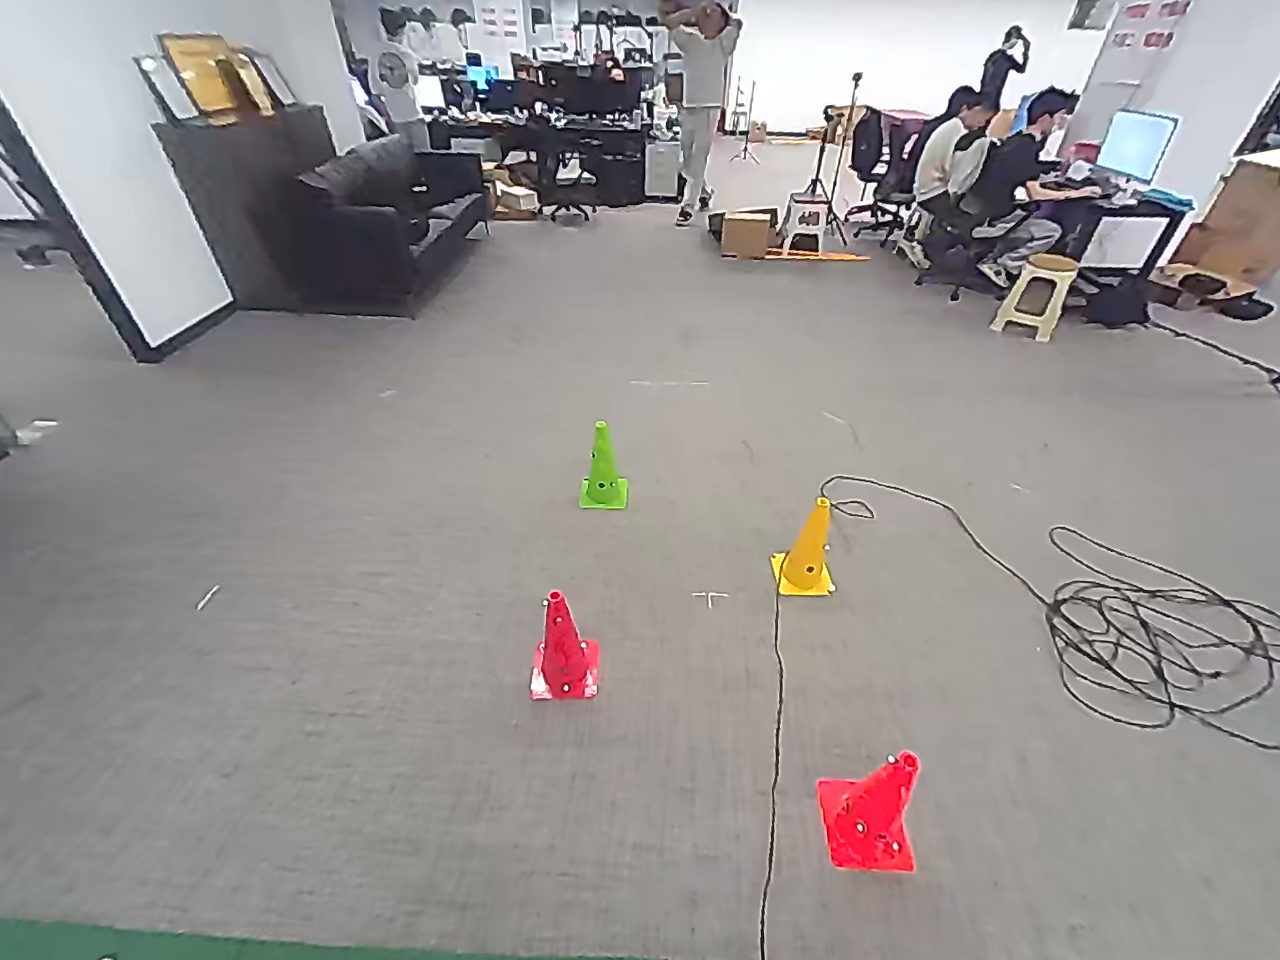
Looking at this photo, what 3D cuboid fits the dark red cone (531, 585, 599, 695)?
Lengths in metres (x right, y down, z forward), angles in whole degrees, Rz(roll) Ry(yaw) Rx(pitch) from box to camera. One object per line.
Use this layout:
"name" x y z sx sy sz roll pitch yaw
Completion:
"dark red cone" -0.224 0.438 1.549 0.202 0.394 0.201 -2 40 -3

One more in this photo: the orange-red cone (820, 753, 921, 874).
"orange-red cone" 0.564 0.724 1.241 0.198 0.360 0.199 3 38 1

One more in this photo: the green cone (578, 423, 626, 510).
"green cone" -0.155 -0.072 2.222 0.202 0.368 0.200 2 39 0
